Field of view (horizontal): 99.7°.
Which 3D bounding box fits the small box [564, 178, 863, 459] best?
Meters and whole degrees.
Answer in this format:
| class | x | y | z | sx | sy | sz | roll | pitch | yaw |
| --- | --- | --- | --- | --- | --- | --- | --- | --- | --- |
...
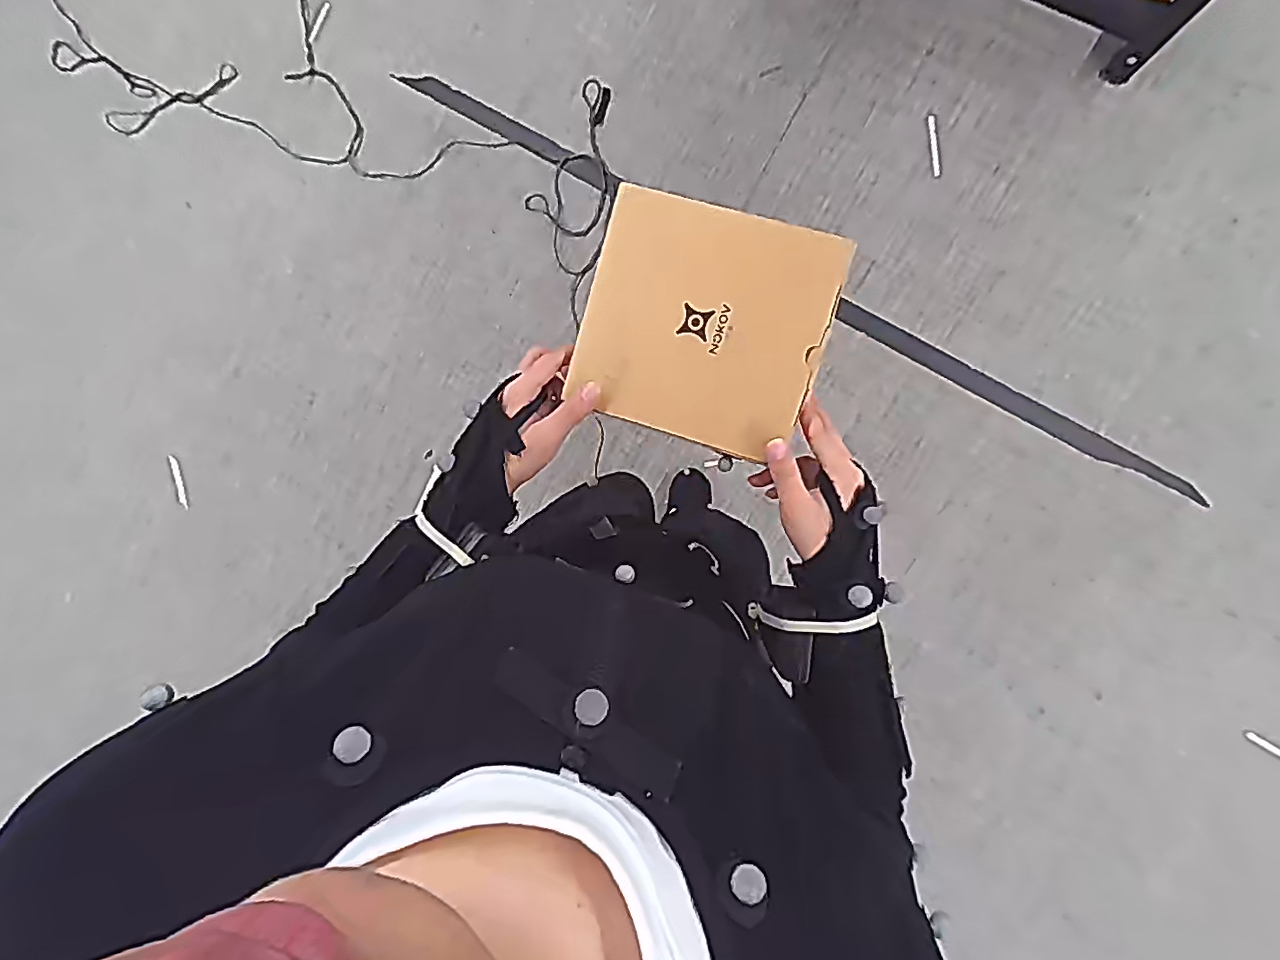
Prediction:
| class | x | y | z | sx | sy | sz | roll | pitch | yaw |
| --- | --- | --- | --- | --- | --- | --- | --- | --- | --- |
| small box | 0.059 | -0.121 | 0.465 | 0.179 | 0.176 | 0.168 | 18 | 97 | 6 |
